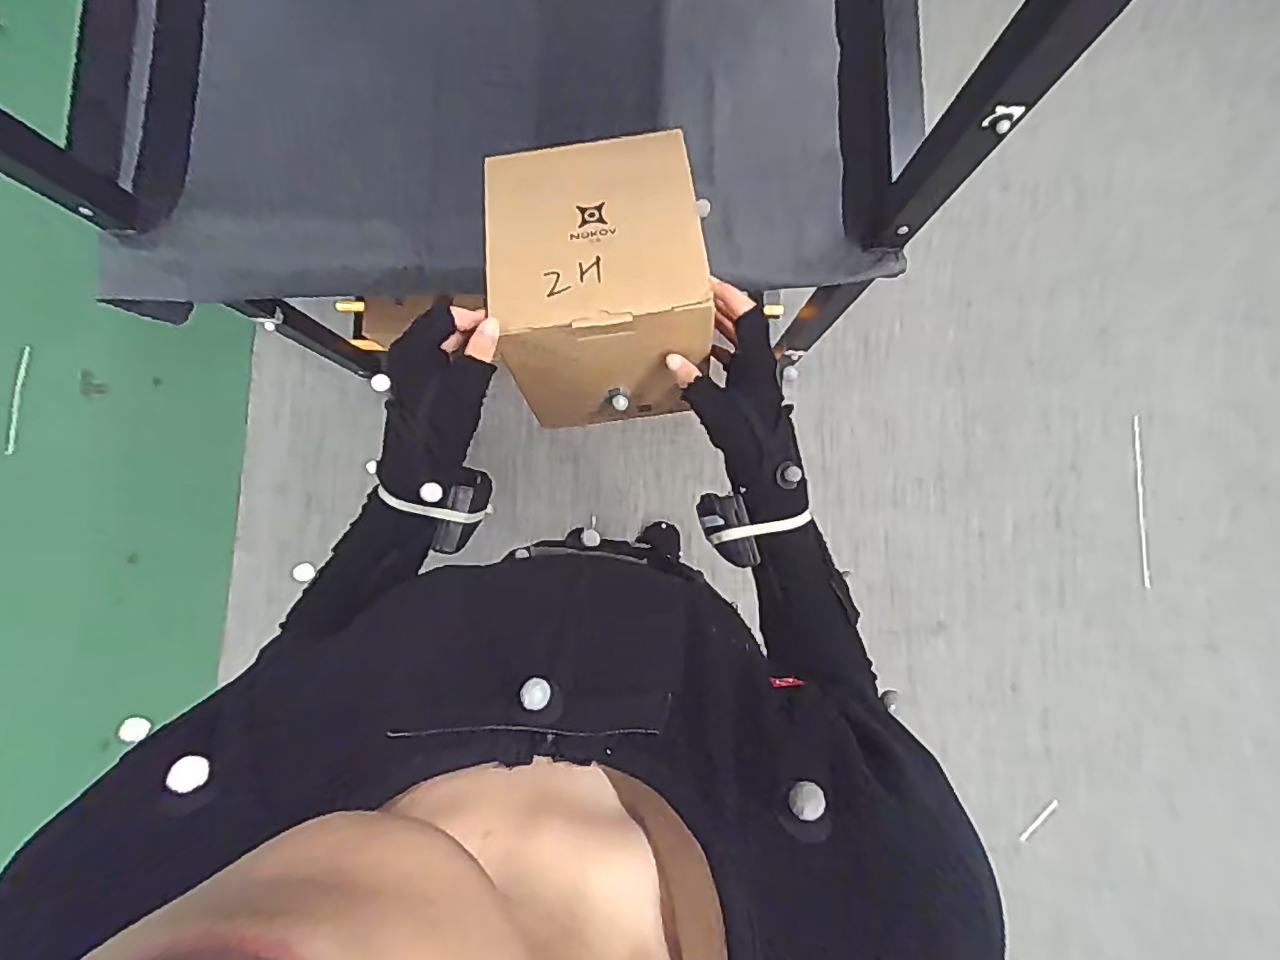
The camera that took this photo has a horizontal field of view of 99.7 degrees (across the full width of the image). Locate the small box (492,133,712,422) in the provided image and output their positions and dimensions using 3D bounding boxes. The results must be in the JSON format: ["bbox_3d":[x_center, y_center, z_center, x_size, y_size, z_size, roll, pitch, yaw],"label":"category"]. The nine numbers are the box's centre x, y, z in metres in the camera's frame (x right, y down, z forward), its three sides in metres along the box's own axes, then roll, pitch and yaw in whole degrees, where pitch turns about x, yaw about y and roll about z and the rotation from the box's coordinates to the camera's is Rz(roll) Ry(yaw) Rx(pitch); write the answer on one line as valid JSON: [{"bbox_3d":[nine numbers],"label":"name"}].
[{"bbox_3d":[-0.030,-0.175,0.501,0.168,0.176,0.179,-7,69,3],"label":"small box"}]
